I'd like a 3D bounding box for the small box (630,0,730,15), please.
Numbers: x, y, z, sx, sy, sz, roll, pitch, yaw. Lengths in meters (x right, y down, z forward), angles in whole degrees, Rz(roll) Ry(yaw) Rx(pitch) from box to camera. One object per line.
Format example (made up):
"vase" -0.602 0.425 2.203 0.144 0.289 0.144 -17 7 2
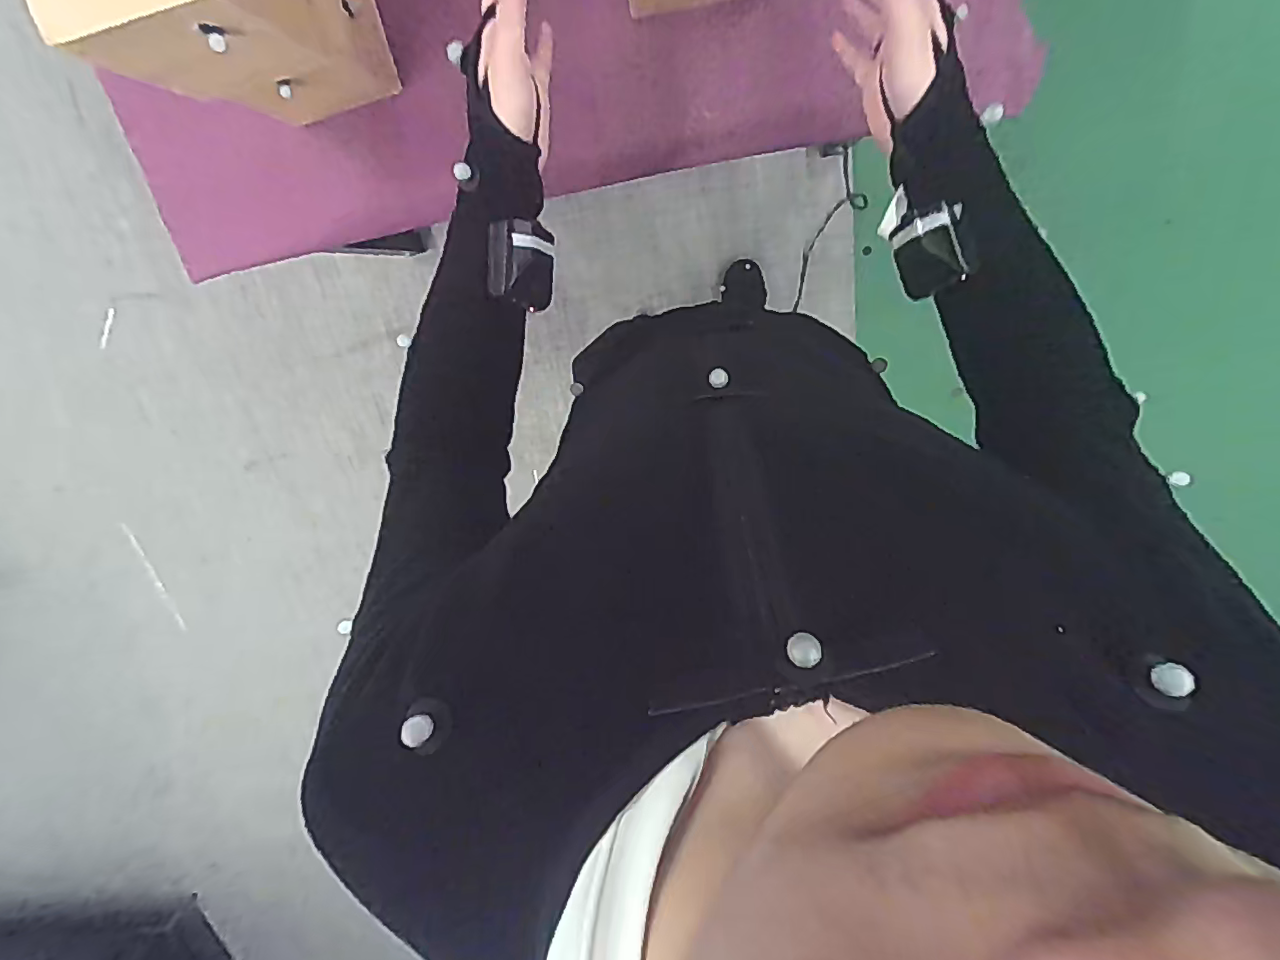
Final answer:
"small box" 0.058 -0.642 0.578 0.179 0.176 0.168 -6 111 7

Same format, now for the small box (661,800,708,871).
"small box" 0.174 1.389 2.119 0.179 0.176 0.168 1 111 5

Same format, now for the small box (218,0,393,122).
"small box" -0.428 -0.562 0.651 0.179 0.176 0.168 -10 110 9

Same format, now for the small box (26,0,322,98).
"small box" -0.435 -0.488 0.502 0.179 0.176 0.168 -9 110 8
